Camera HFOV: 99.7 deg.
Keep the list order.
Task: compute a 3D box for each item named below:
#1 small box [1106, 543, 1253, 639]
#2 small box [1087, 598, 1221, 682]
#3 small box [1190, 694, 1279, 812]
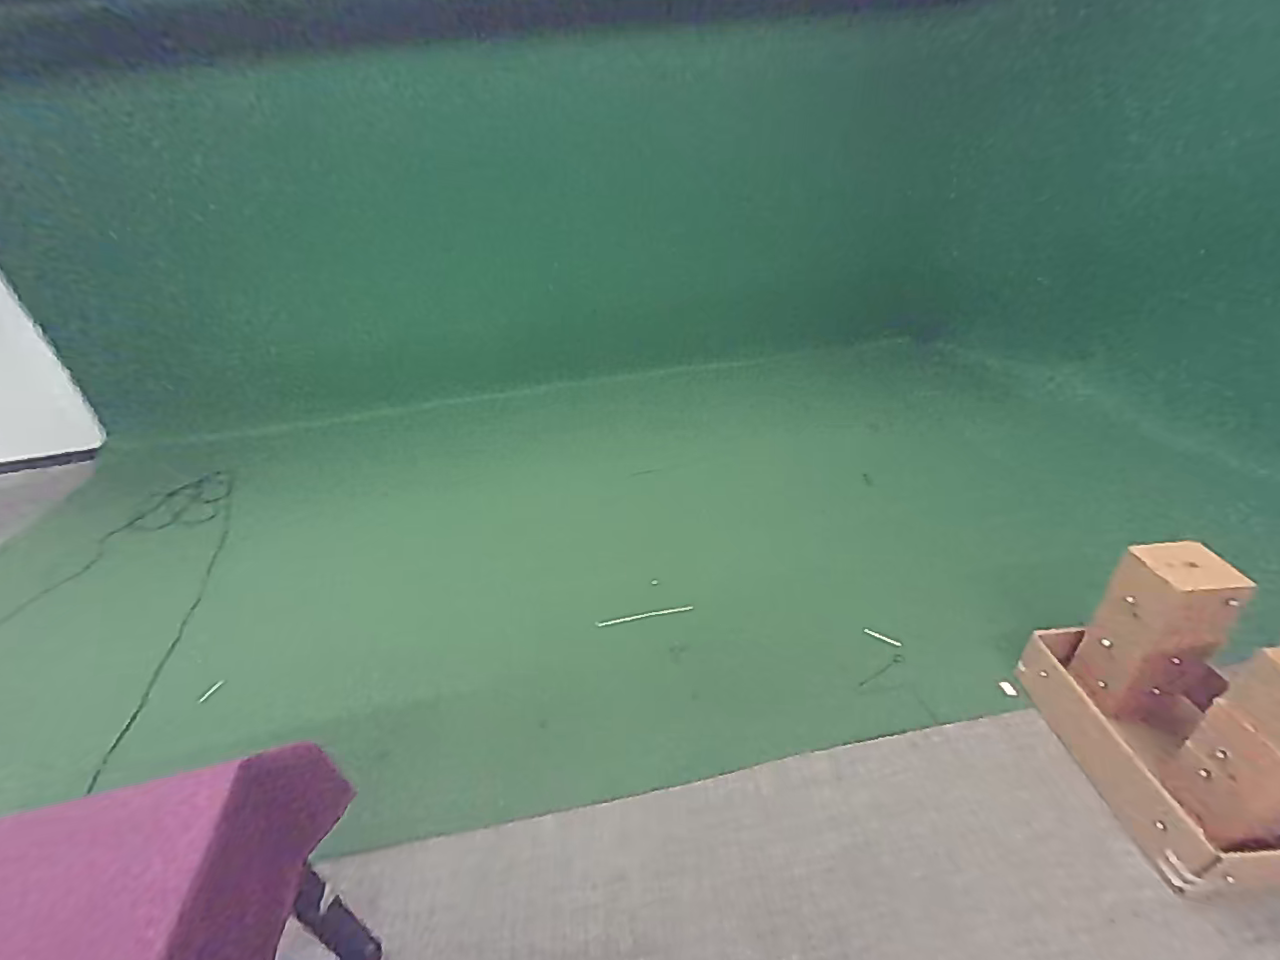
[{"bbox_3d":[1.345,0.281,1.366,0.179,0.176,0.168,-5,33,3],"label":"small box"},{"bbox_3d":[1.364,0.421,1.451,0.179,0.176,0.168,-5,33,5],"label":"small box"},{"bbox_3d":[1.378,0.591,1.175,0.179,0.176,0.168,-6,31,1],"label":"small box"}]
